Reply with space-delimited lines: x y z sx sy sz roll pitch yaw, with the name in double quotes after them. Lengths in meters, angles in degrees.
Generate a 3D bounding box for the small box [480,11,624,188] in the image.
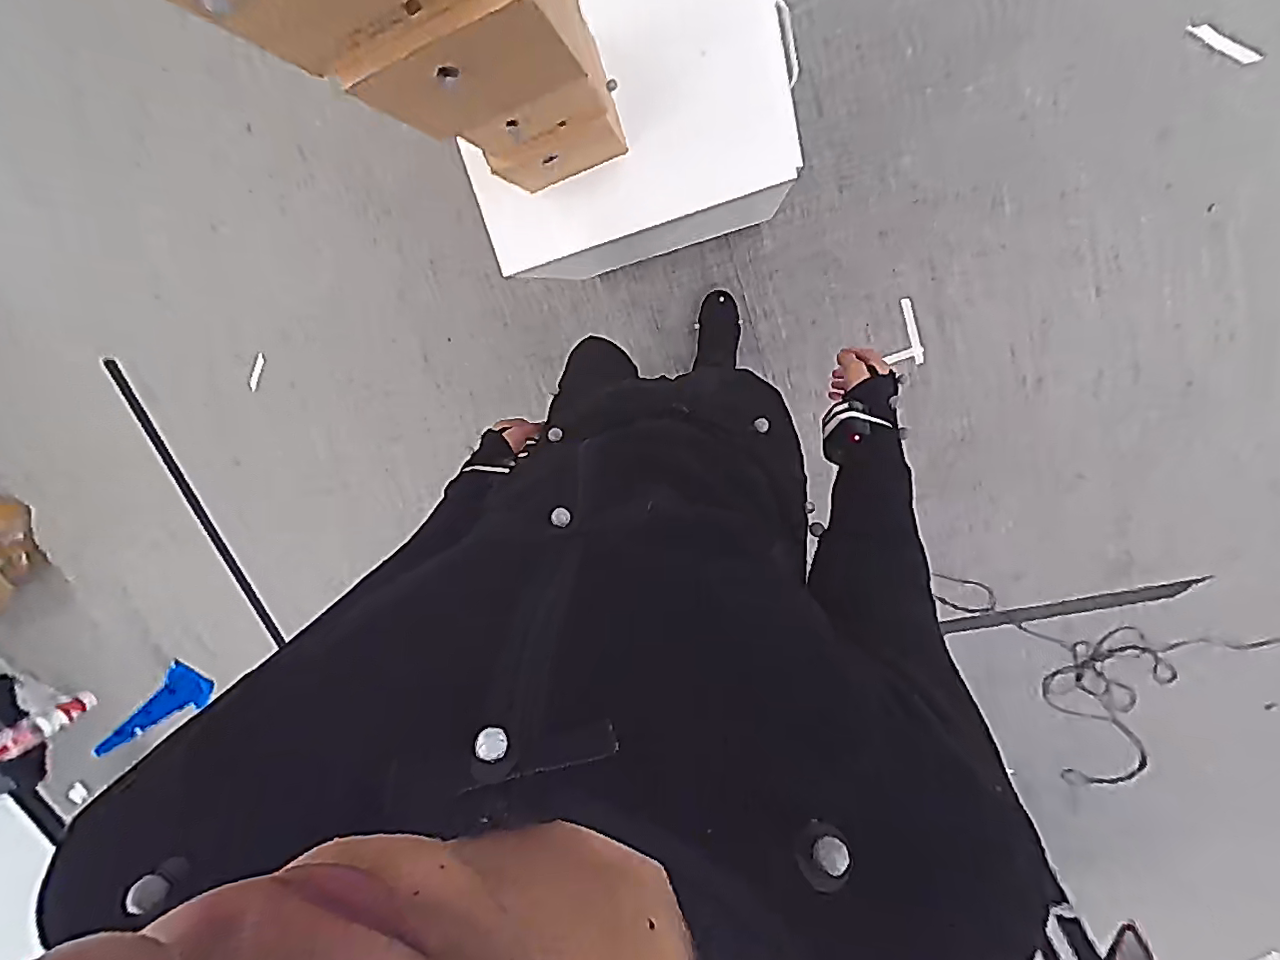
-0.138 -0.545 0.775 0.179 0.176 0.168 -16 107 13 "small box"

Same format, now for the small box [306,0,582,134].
-0.172 -0.435 0.469 0.179 0.176 0.168 -15 107 14 "small box"

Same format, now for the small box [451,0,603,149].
-0.154 -0.506 0.617 0.168 0.176 0.179 -15 106 14 "small box"
